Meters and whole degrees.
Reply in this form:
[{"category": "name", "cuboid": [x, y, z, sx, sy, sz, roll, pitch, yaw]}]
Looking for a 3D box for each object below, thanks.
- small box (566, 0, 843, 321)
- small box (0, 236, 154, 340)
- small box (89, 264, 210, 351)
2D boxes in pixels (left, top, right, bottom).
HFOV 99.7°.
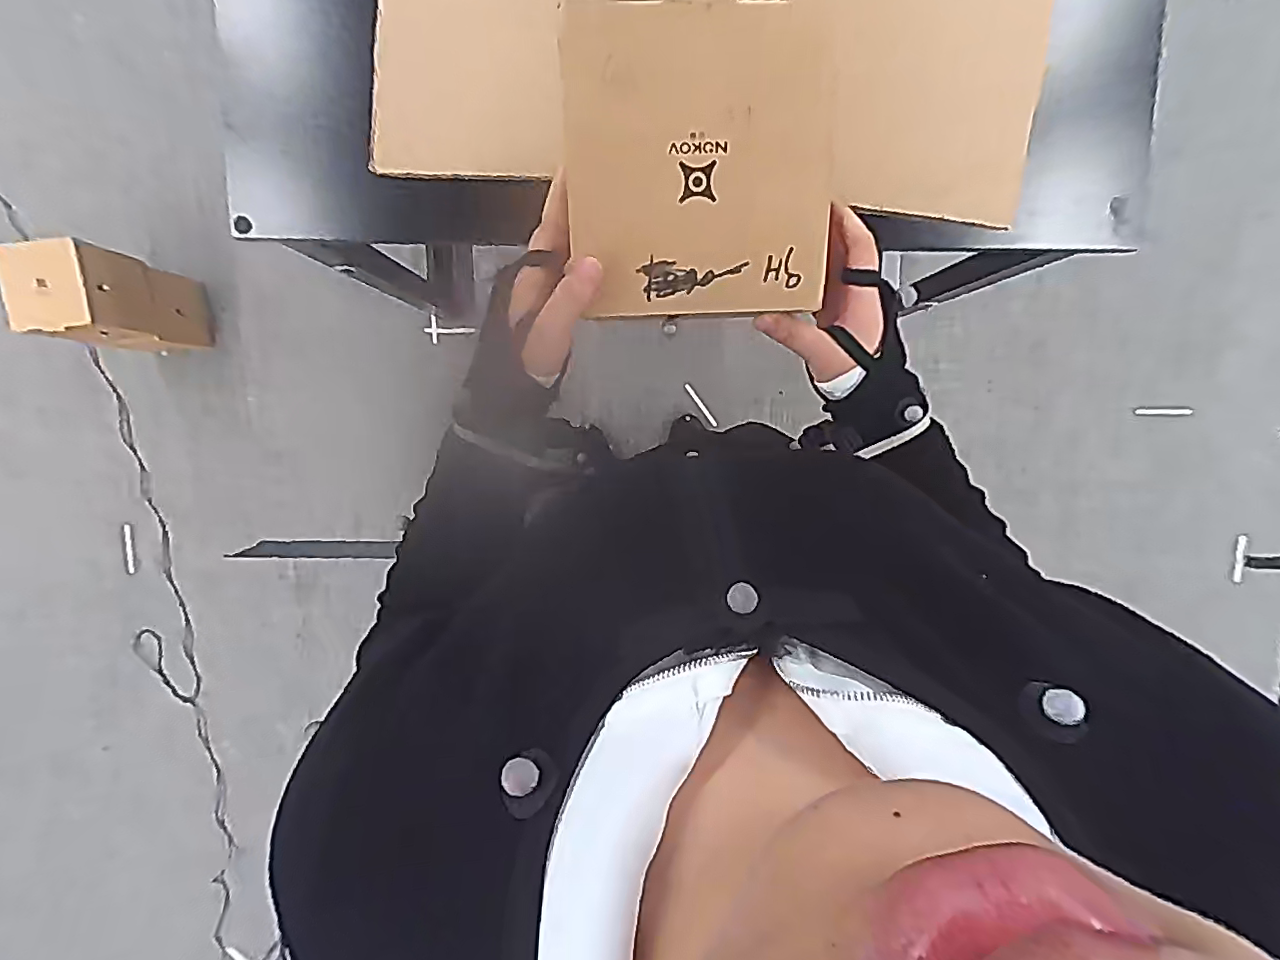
[{"category": "small box", "cuboid": [0.036, -0.216, 0.408, 0.168, 0.176, 0.179, -2, 105, -1]}, {"category": "small box", "cuboid": [-1.216, -0.407, 1.176, 0.168, 0.176, 0.179, -7, 96, -1]}, {"category": "small box", "cuboid": [-1.217, -0.421, 1.338, 0.168, 0.176, 0.179, -3, 98, 0]}]
